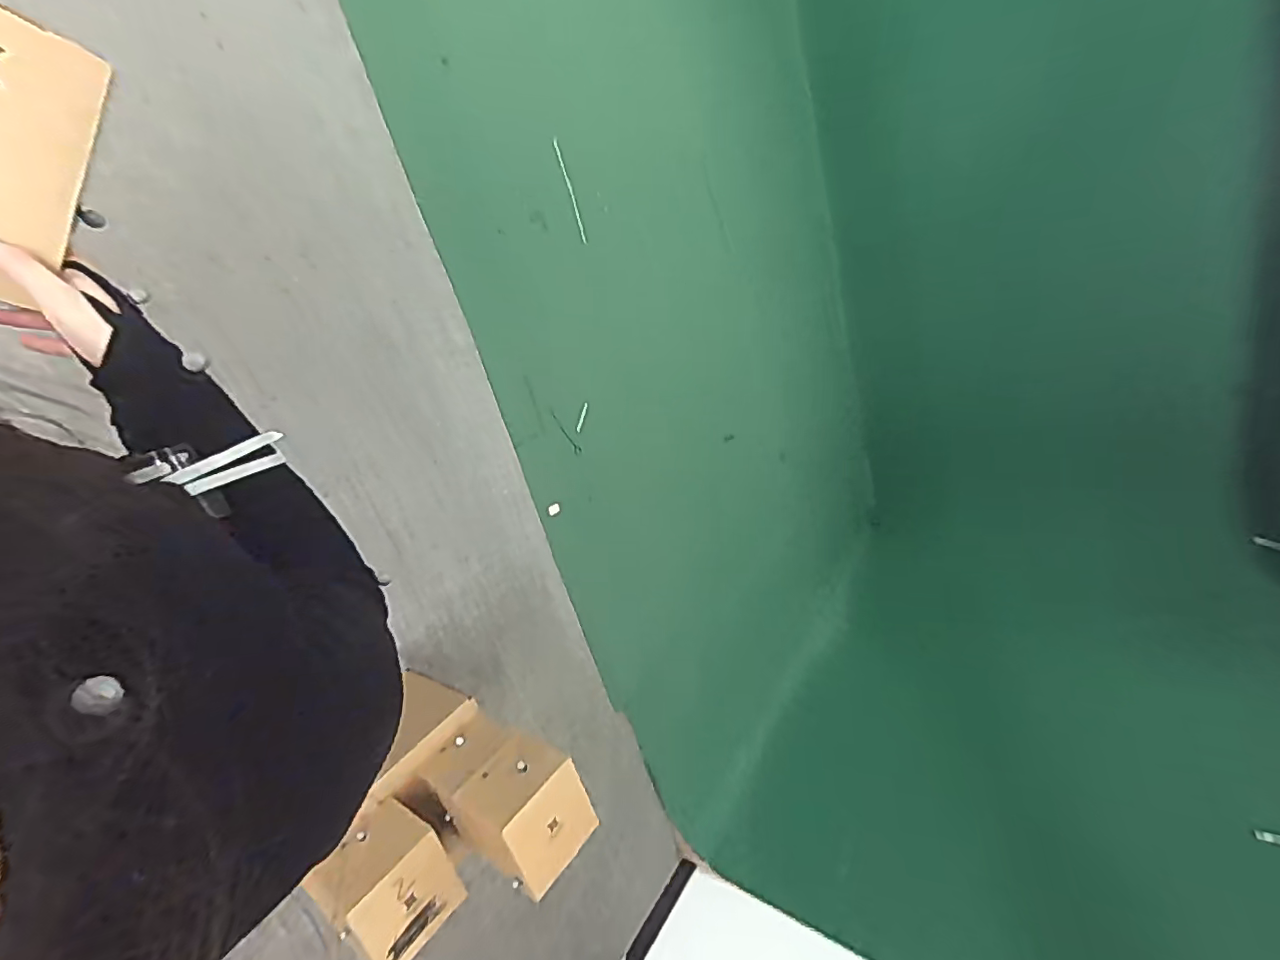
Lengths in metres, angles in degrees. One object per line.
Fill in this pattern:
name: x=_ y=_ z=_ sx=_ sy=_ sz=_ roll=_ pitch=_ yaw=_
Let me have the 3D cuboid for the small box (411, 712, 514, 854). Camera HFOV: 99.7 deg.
small box: x=-0.352 y=0.633 z=1.153 sx=0.168 sy=0.176 sz=0.179 roll=-34 pitch=113 yaw=-42

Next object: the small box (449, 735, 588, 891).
small box: x=-0.235 y=0.622 z=1.041 sx=0.168 sy=0.176 sz=0.179 roll=-35 pitch=115 yaw=-42

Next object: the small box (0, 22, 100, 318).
small box: x=-0.499 y=-0.225 z=0.363 sx=0.168 sy=0.176 sz=0.179 roll=15 pitch=92 yaw=-49
